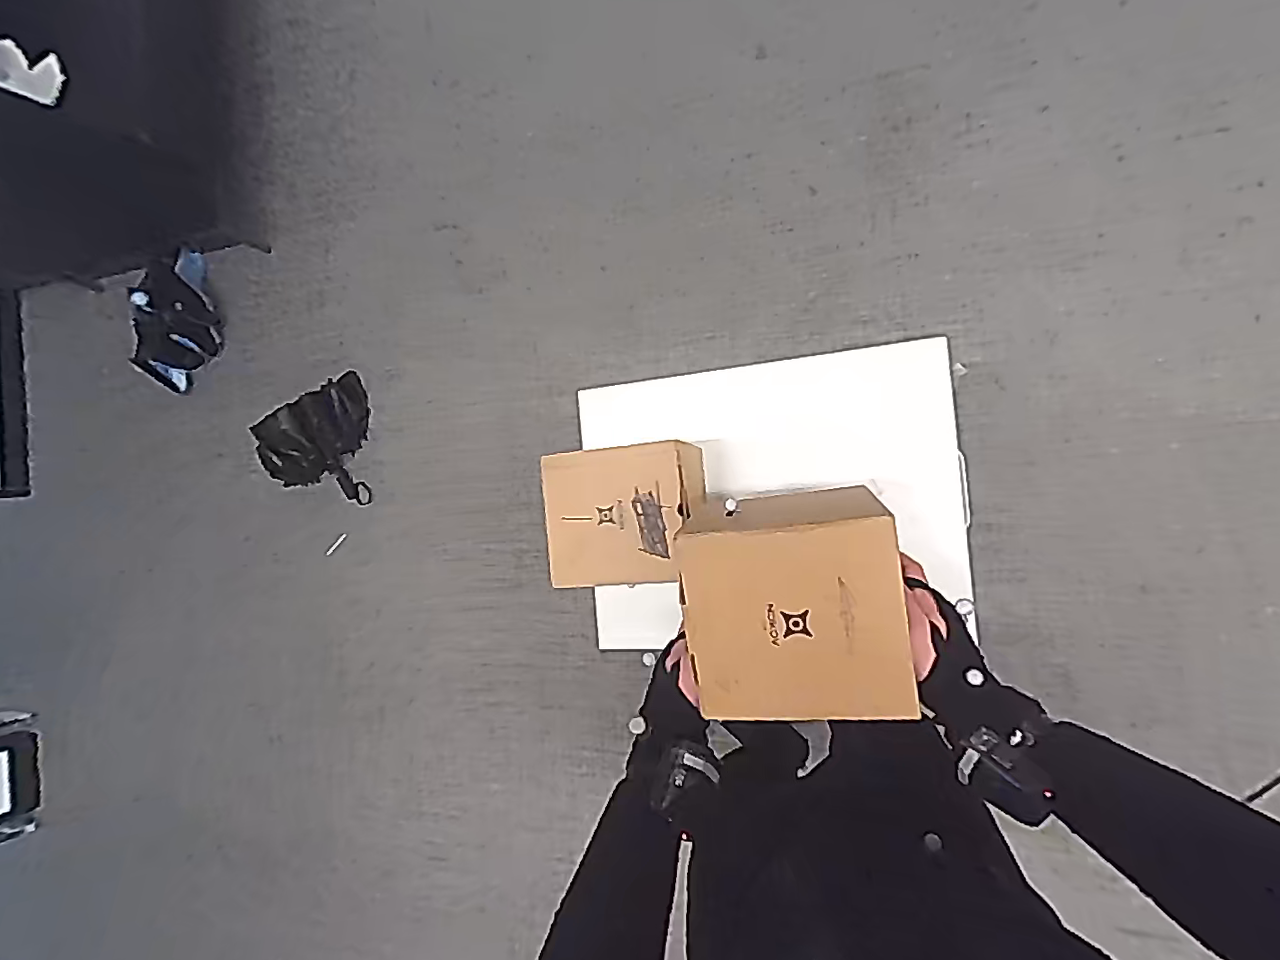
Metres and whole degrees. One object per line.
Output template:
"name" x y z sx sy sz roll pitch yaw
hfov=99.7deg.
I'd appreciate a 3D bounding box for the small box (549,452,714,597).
"small box" -0.001 0.056 0.716 0.179 0.176 0.168 -6 87 17
